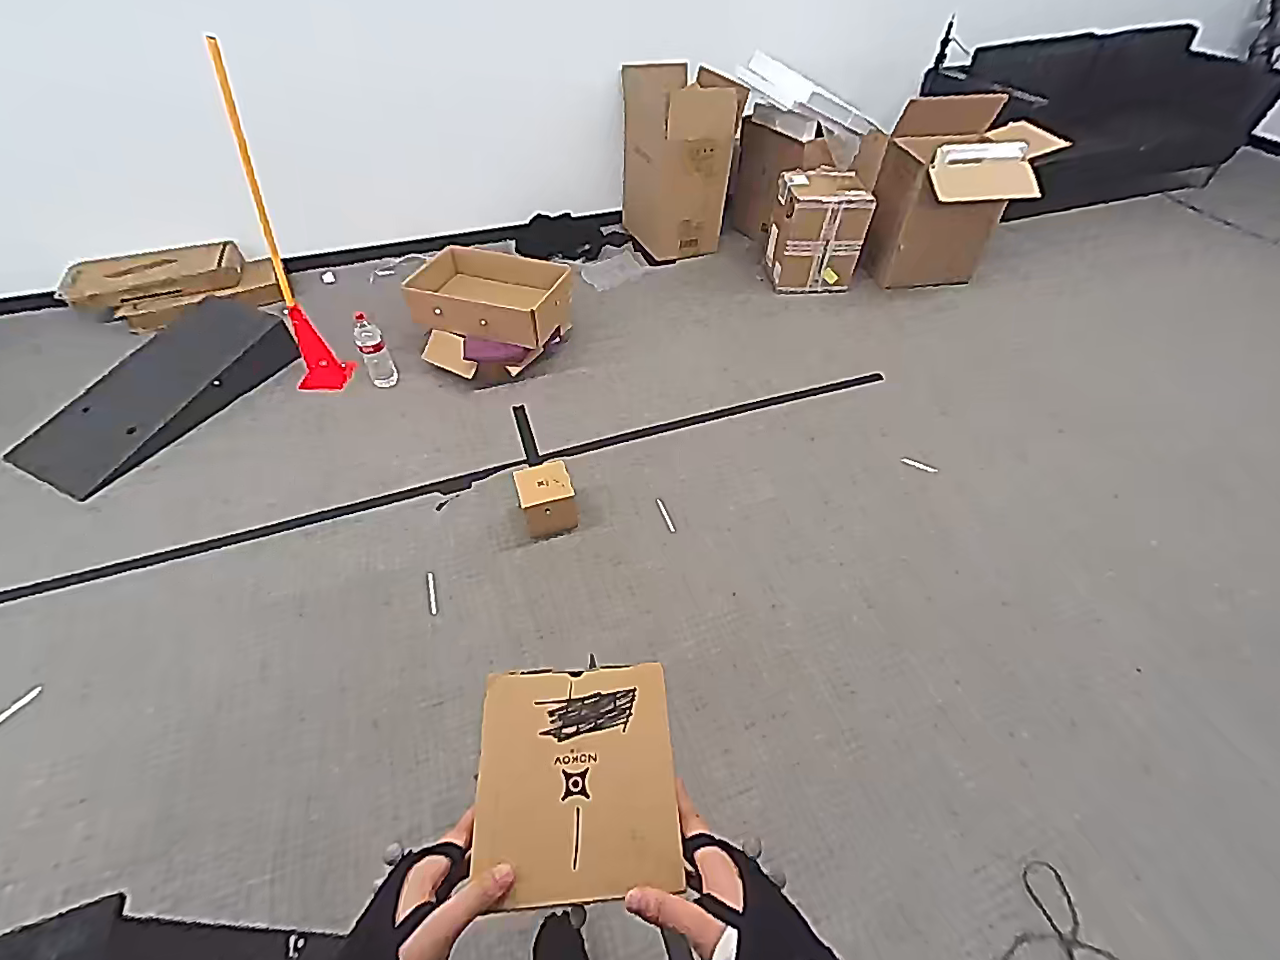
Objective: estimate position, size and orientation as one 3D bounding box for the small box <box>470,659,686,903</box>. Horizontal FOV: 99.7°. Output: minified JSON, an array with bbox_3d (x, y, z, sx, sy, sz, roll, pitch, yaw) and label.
[{"bbox_3d":[-0.056,0.290,0.519,0.168,0.176,0.179,-2,53,-5],"label":"small box"}]

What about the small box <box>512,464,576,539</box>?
[{"bbox_3d":[-0.321,0.076,1.834,0.179,0.176,0.168,-14,50,-14],"label":"small box"}]
